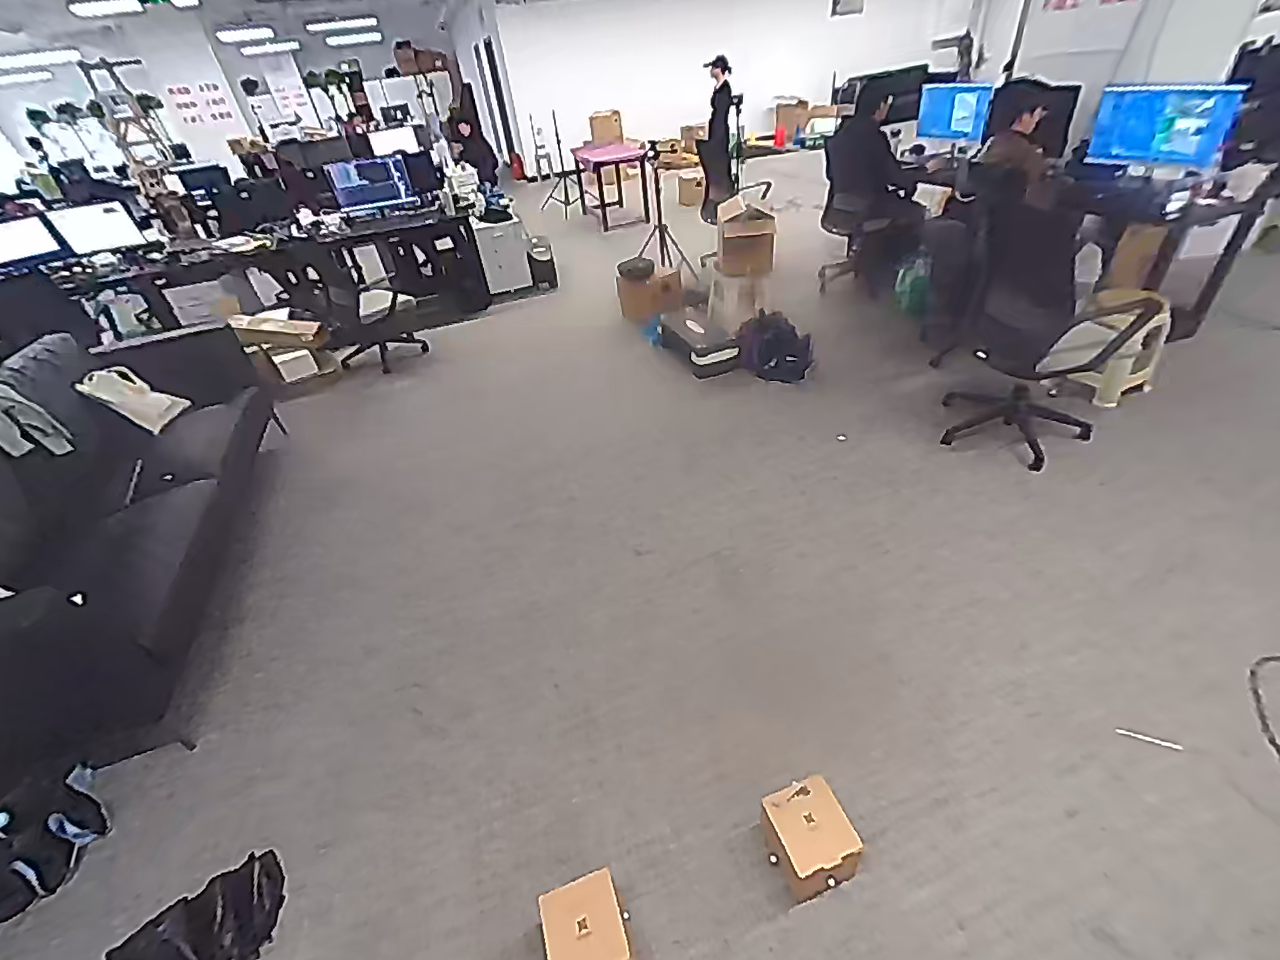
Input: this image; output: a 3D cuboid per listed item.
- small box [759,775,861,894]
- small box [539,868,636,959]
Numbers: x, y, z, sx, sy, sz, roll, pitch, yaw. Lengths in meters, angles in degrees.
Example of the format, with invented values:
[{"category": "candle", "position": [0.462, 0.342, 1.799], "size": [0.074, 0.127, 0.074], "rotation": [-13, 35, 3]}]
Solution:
[{"category": "small box", "position": [0.401, 0.857, 1.299], "size": [0.168, 0.176, 0.179], "rotation": [-17, 39, -11]}, {"category": "small box", "position": [-0.112, 1.012, 1.191], "size": [0.168, 0.176, 0.179], "rotation": [-16, 36, -13]}]
